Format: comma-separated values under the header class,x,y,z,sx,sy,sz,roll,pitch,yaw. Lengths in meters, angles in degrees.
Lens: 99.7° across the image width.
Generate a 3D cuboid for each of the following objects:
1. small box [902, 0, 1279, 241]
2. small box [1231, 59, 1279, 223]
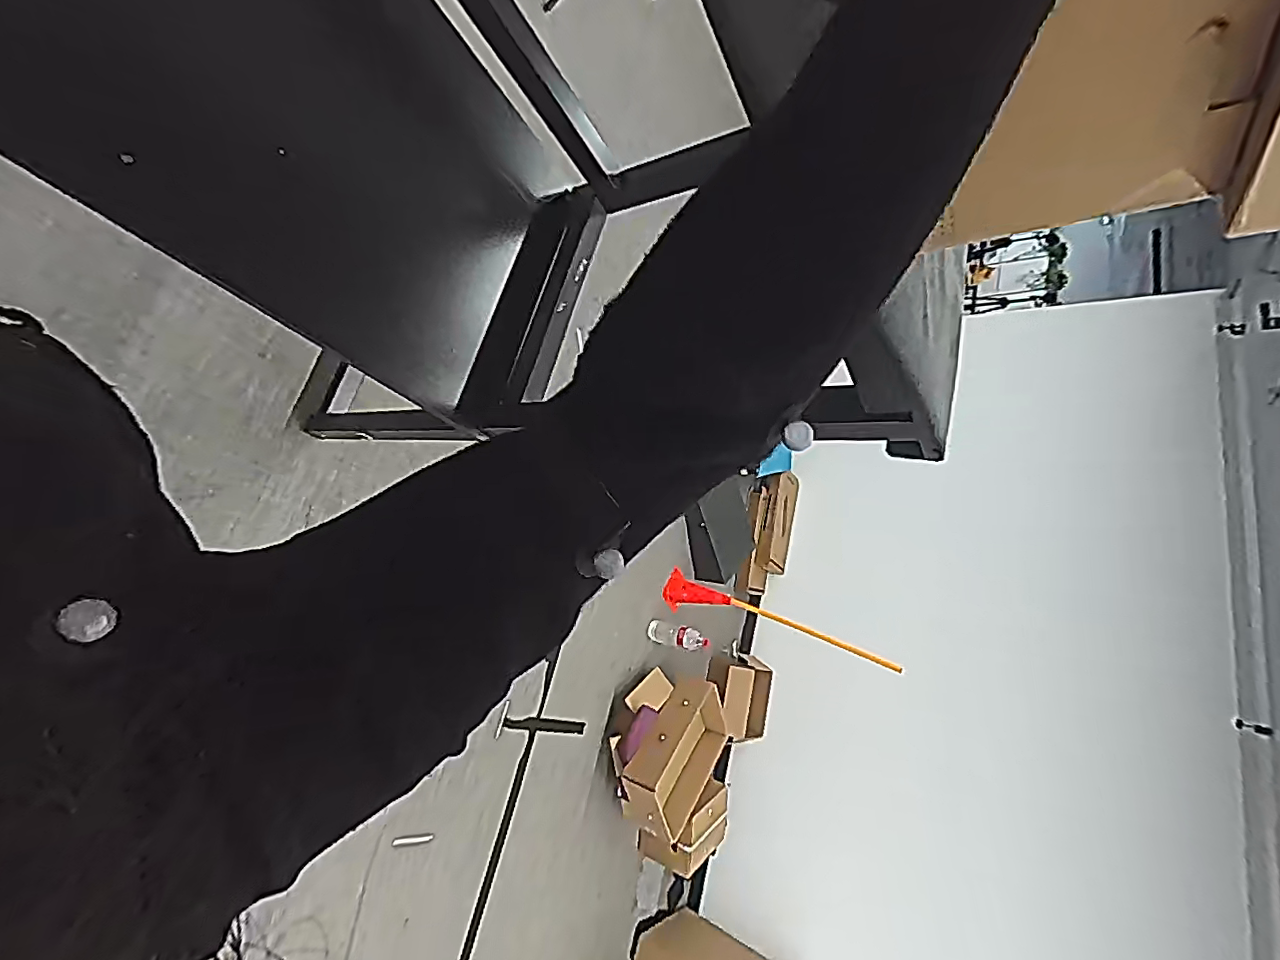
class,x,y,z,sx,sy,sz,roll,pitch,yaw
small box,0.268,-0.283,0.338,0.168,0.176,0.179,43,56,-48
small box,0.394,-0.248,0.236,0.168,0.176,0.179,35,63,-52
